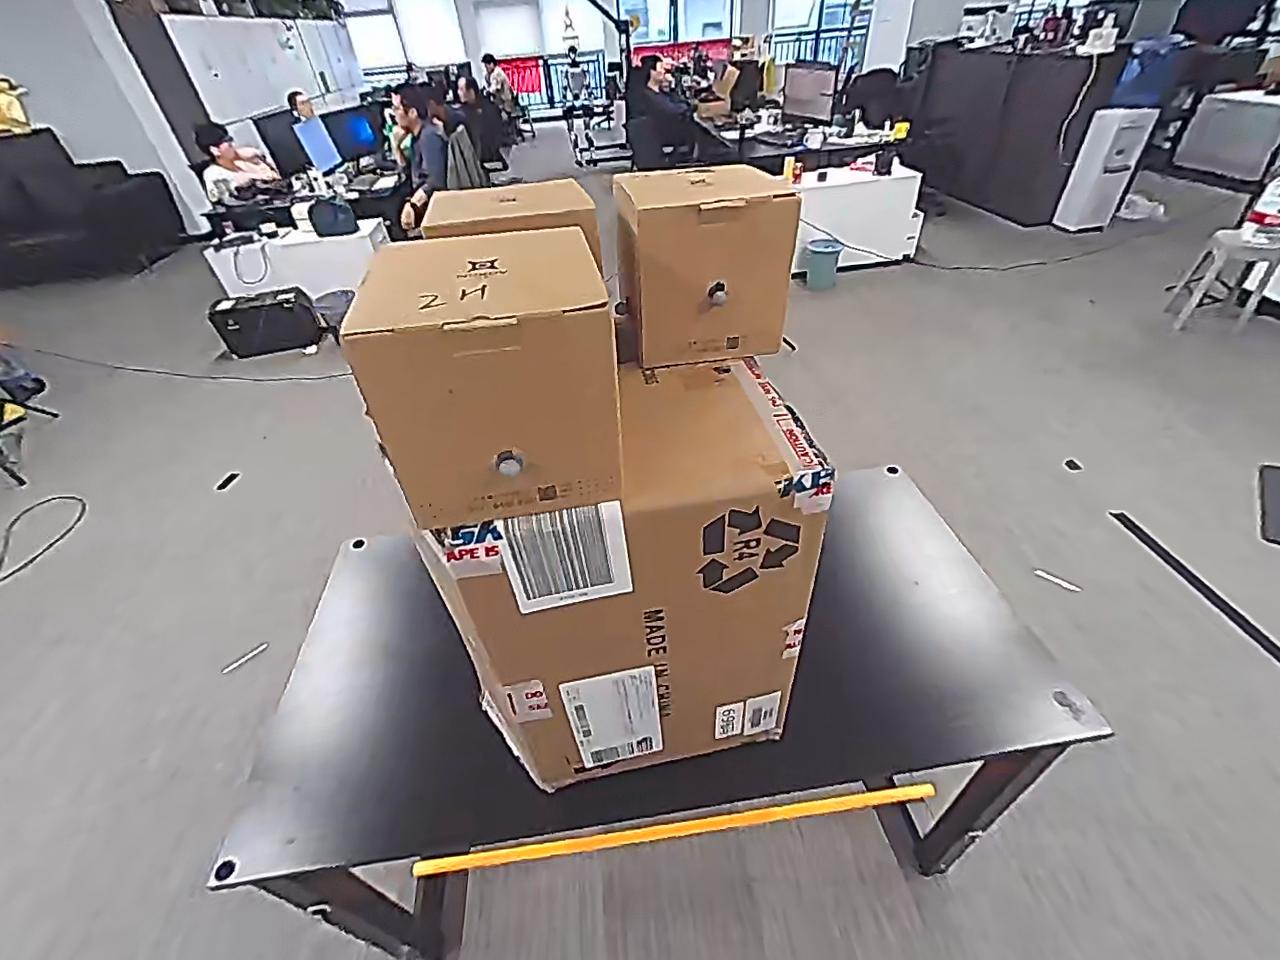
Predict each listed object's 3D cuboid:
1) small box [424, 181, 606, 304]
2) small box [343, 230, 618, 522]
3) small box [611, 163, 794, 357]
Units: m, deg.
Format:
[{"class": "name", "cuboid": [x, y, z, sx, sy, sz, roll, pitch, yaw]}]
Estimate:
[{"class": "small box", "cuboid": [-0.135, -0.231, 0.625, 0.168, 0.176, 0.179, -12, 40, -8]}, {"class": "small box", "cuboid": [-0.114, -0.091, 0.451, 0.168, 0.176, 0.179, -9, 42, -7]}, {"class": "small box", "cuboid": [0.062, -0.253, 0.632, 0.168, 0.176, 0.179, -8, 40, -6]}]
